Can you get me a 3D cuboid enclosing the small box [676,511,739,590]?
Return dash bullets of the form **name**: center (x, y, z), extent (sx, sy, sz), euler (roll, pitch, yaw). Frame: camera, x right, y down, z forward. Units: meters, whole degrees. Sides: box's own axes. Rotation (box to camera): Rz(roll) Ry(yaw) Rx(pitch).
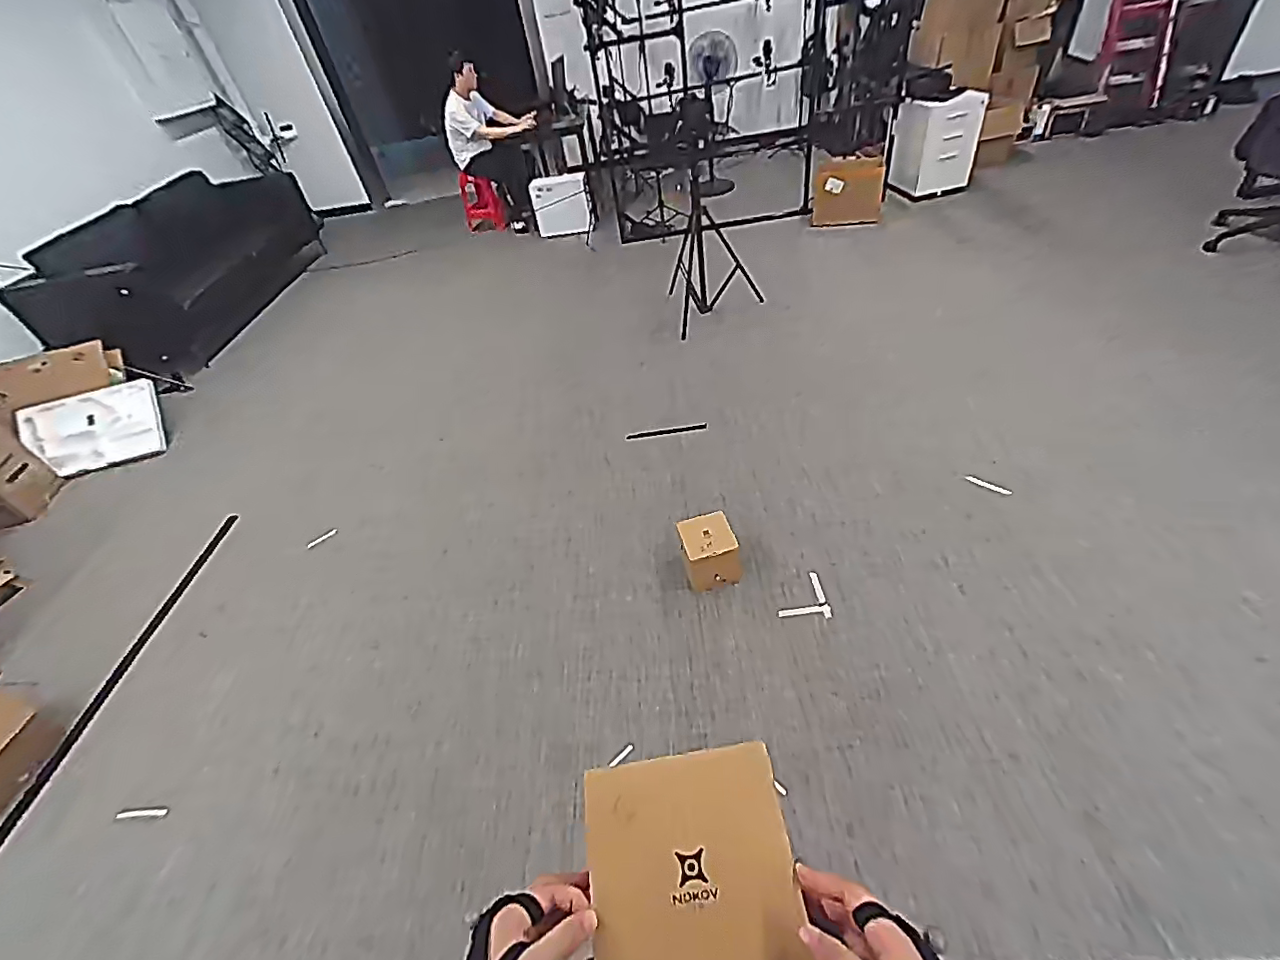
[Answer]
- **small box**: center (0.225, 0.238, 1.809), extent (0.168, 0.176, 0.179), euler (-15, 43, -3)
